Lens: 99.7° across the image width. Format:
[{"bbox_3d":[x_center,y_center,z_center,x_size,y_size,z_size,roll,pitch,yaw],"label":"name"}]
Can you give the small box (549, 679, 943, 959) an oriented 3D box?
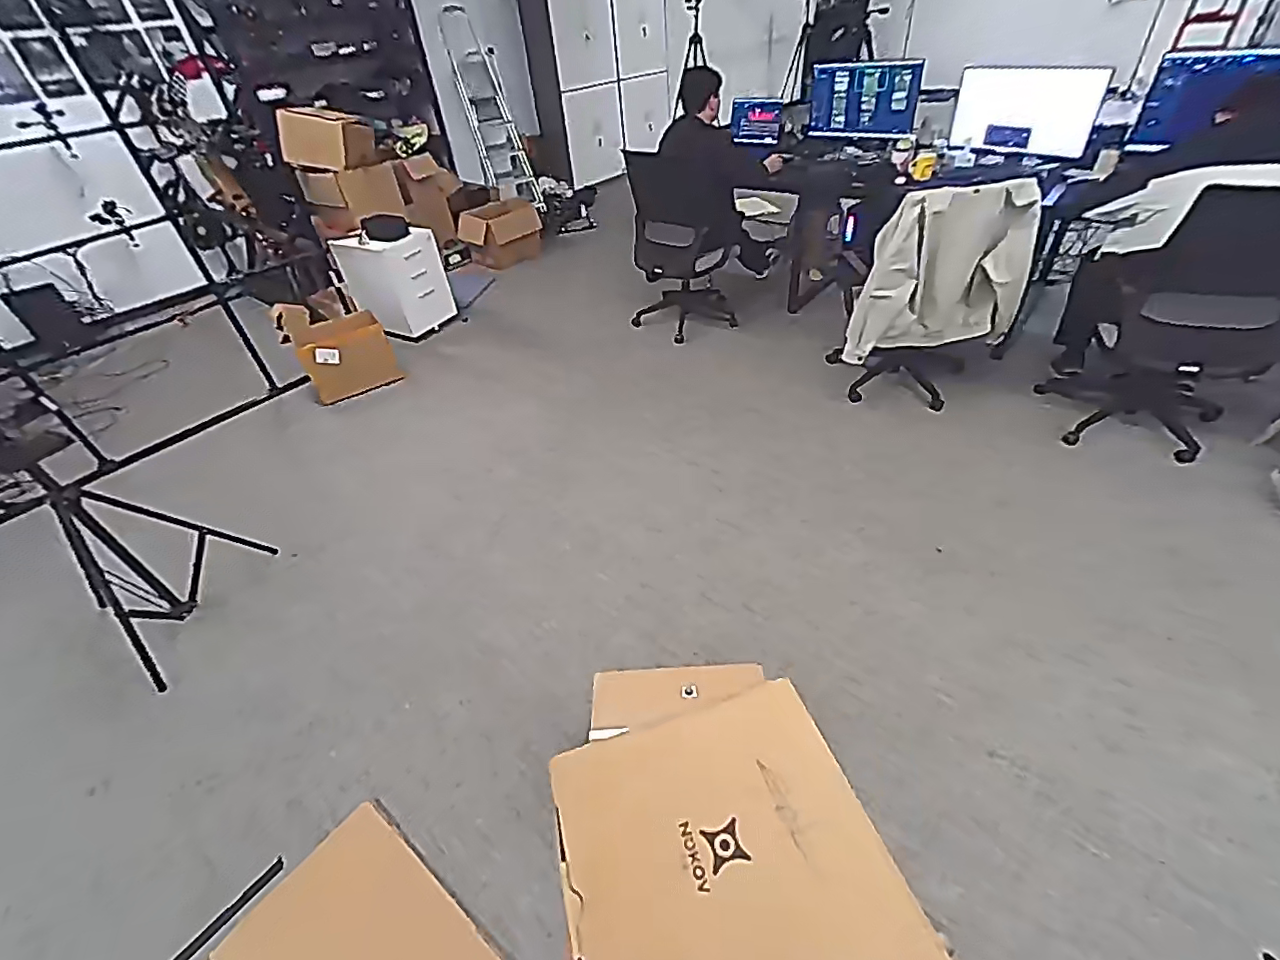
[{"bbox_3d":[0.052,0.270,0.356,0.179,0.176,0.168,-15,40,-10],"label":"small box"}]
